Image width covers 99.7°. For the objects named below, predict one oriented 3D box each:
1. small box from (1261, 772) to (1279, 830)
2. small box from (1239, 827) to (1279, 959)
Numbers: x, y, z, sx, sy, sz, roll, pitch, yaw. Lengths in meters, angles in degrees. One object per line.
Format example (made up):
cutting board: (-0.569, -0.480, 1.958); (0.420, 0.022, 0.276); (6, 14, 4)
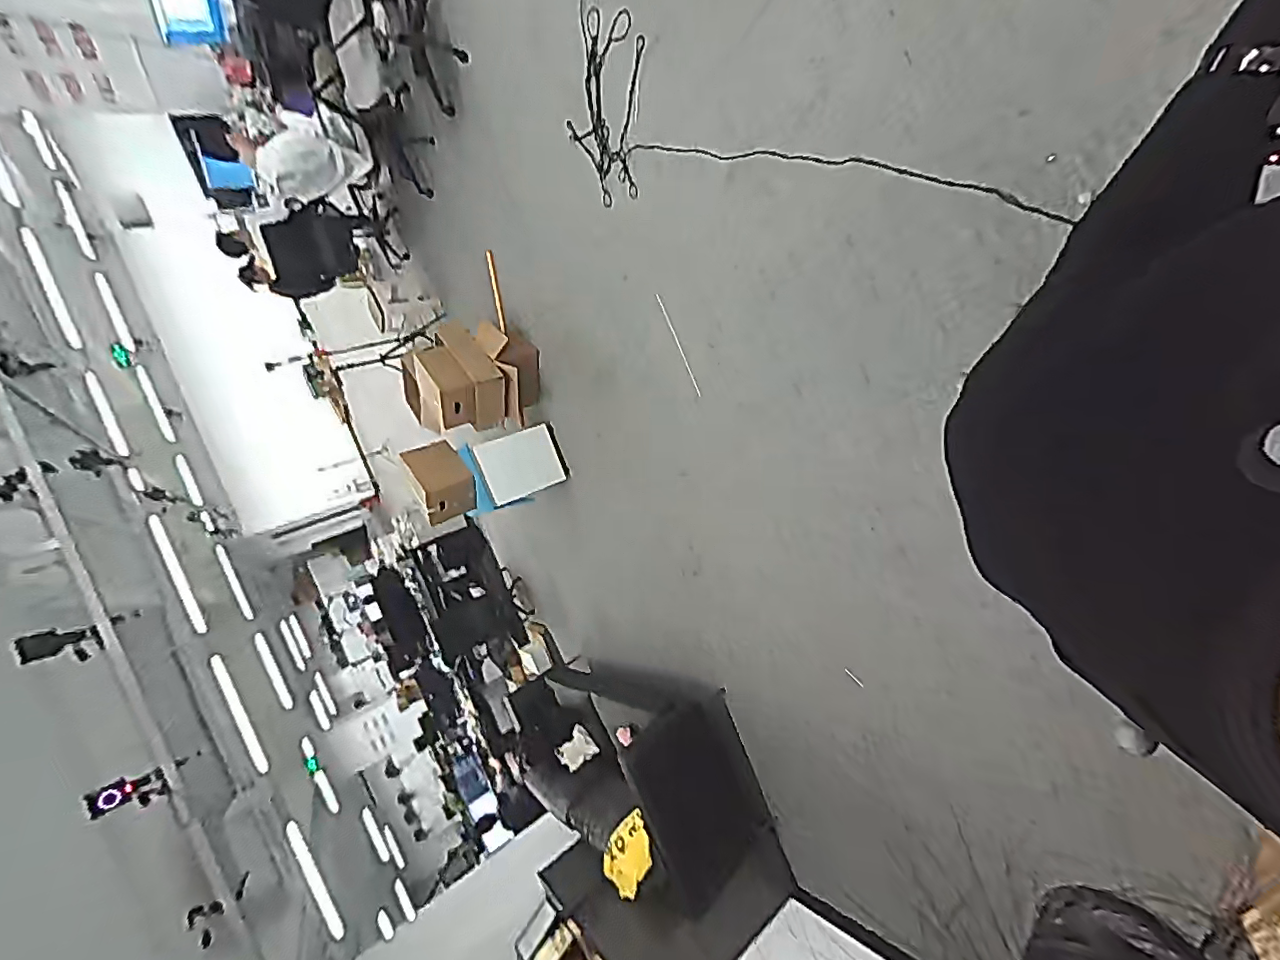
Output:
small box: (1.138, 0.587, 0.844); (0.179, 0.176, 0.168); (-22, 91, 60)
small box: (1.008, 0.645, 0.761); (0.168, 0.176, 0.179); (-25, 90, 59)
